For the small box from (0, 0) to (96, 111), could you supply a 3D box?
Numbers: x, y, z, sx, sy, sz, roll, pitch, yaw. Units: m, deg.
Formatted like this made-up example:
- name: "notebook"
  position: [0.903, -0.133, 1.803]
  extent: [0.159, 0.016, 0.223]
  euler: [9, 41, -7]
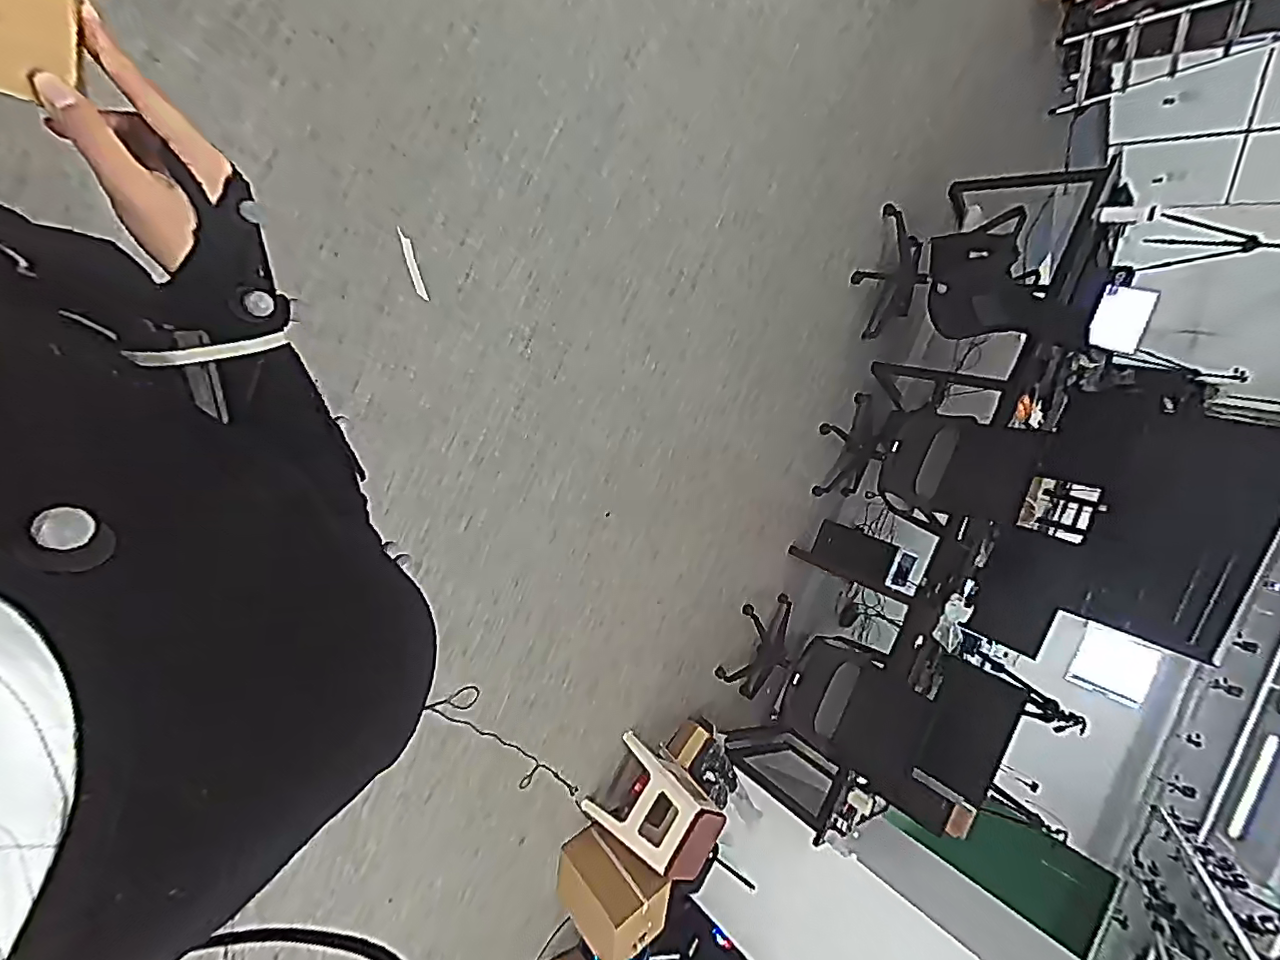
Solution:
- name: "small box"
  position: [-0.365, -0.301, 0.244]
  extent: [0.168, 0.176, 0.179]
  euler: [1, 115, -45]
